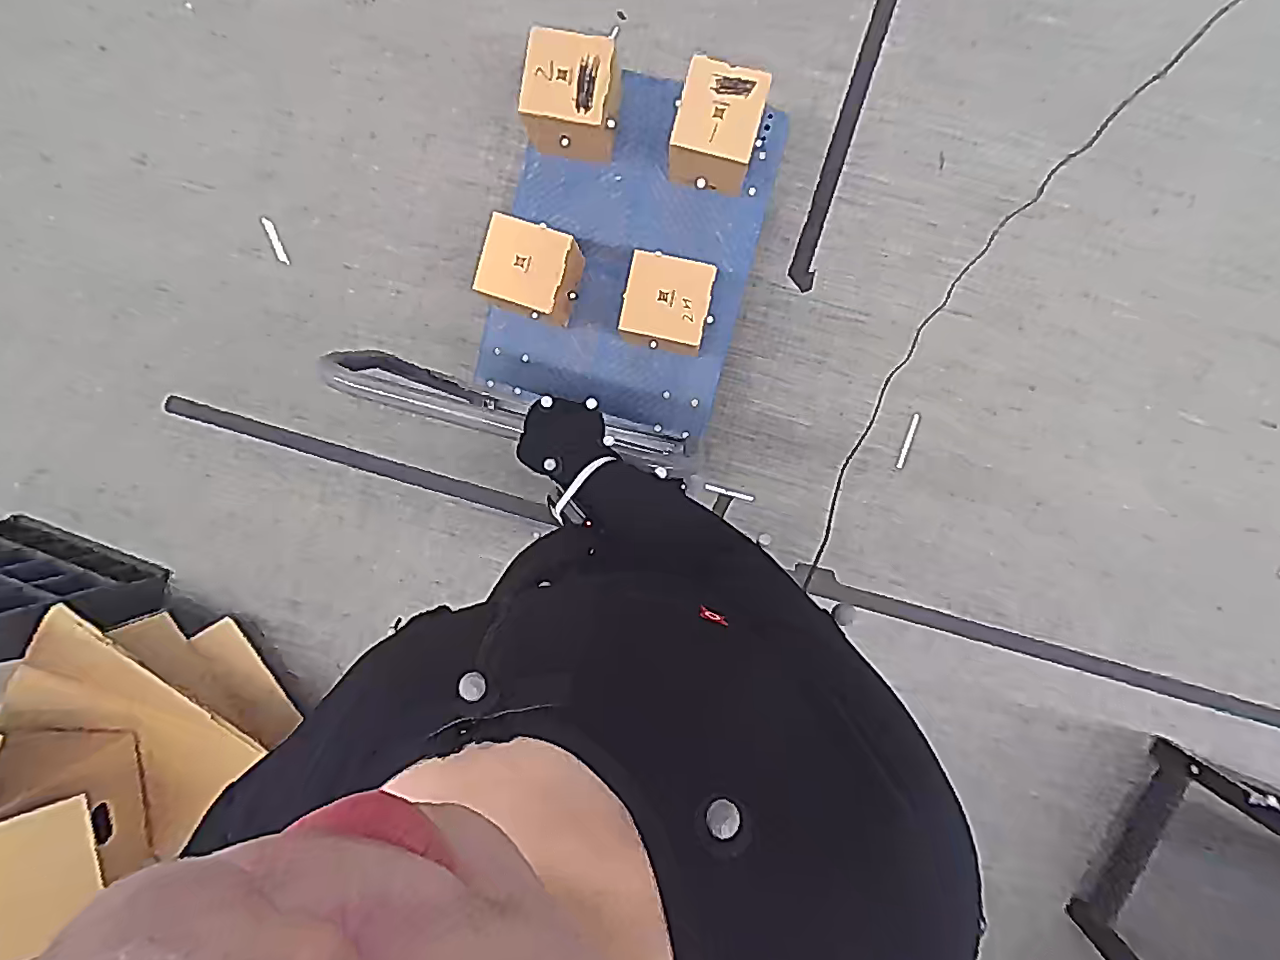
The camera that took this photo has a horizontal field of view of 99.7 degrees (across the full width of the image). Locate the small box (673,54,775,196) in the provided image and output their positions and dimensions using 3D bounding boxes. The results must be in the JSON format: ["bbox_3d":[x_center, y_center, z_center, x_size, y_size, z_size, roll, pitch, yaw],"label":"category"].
[{"bbox_3d":[0.169,-0.741,1.146,0.168,0.176,0.179,16,97,2],"label":"small box"}]

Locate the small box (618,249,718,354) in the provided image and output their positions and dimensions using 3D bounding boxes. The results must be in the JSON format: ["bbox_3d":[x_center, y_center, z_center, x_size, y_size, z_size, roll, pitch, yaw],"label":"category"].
[{"bbox_3d":[0.062,-0.381,1.187,0.179,0.176,0.168,13,96,2],"label":"small box"}]

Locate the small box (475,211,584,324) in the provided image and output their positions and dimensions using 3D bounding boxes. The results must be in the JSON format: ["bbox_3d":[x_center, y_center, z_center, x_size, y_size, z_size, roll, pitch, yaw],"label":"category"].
[{"bbox_3d":[-0.237,-0.460,1.198,0.179,0.176,0.168,18,96,0],"label":"small box"}]
